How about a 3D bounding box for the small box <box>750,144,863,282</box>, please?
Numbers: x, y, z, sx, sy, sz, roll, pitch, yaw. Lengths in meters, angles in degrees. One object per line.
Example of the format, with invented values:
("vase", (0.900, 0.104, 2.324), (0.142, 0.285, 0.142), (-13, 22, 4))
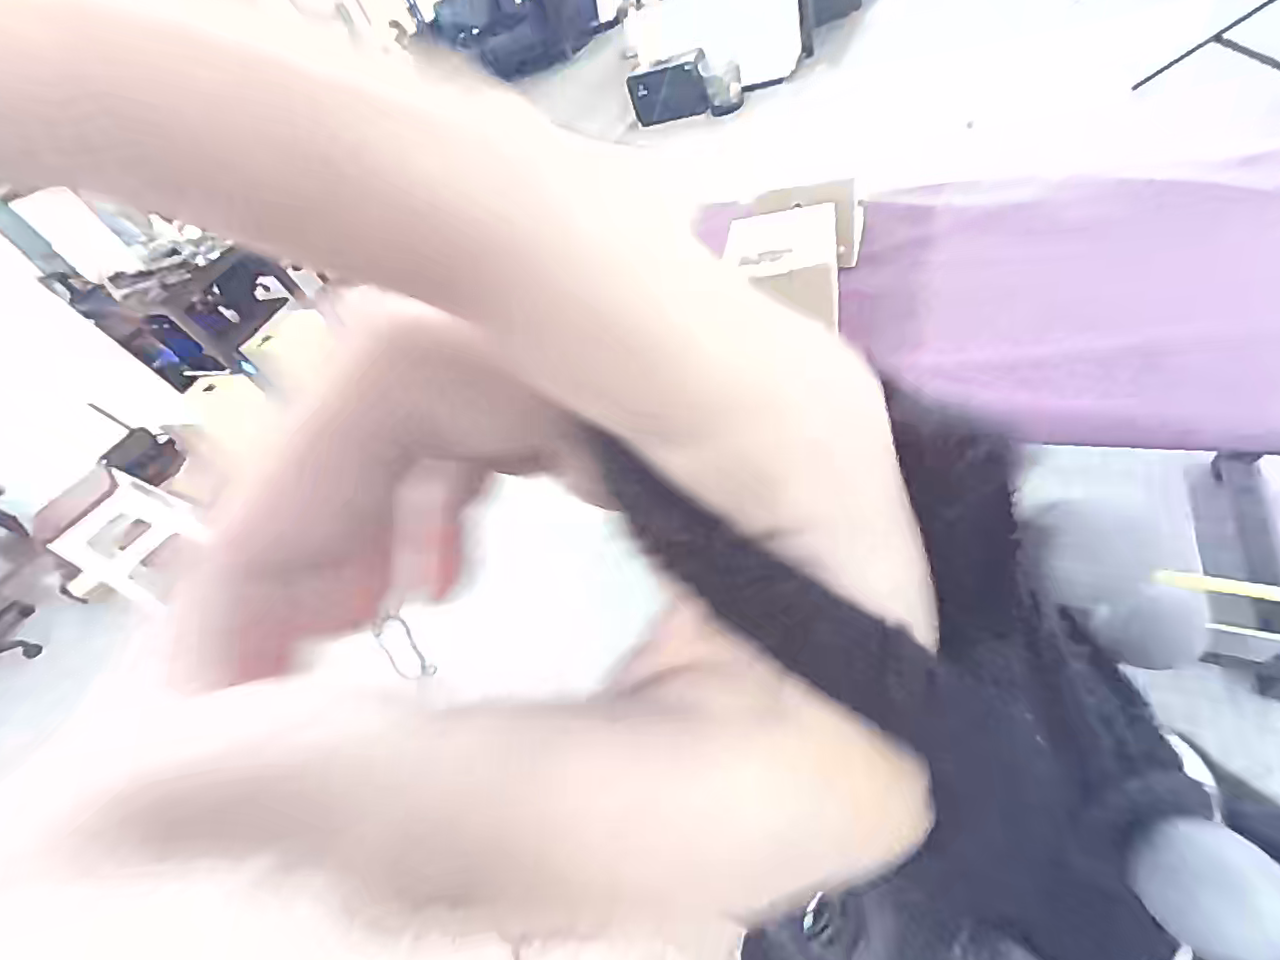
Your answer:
("small box", (0.322, -0.499, 1.029), (0.179, 0.176, 0.168), (4, 54, 26))
